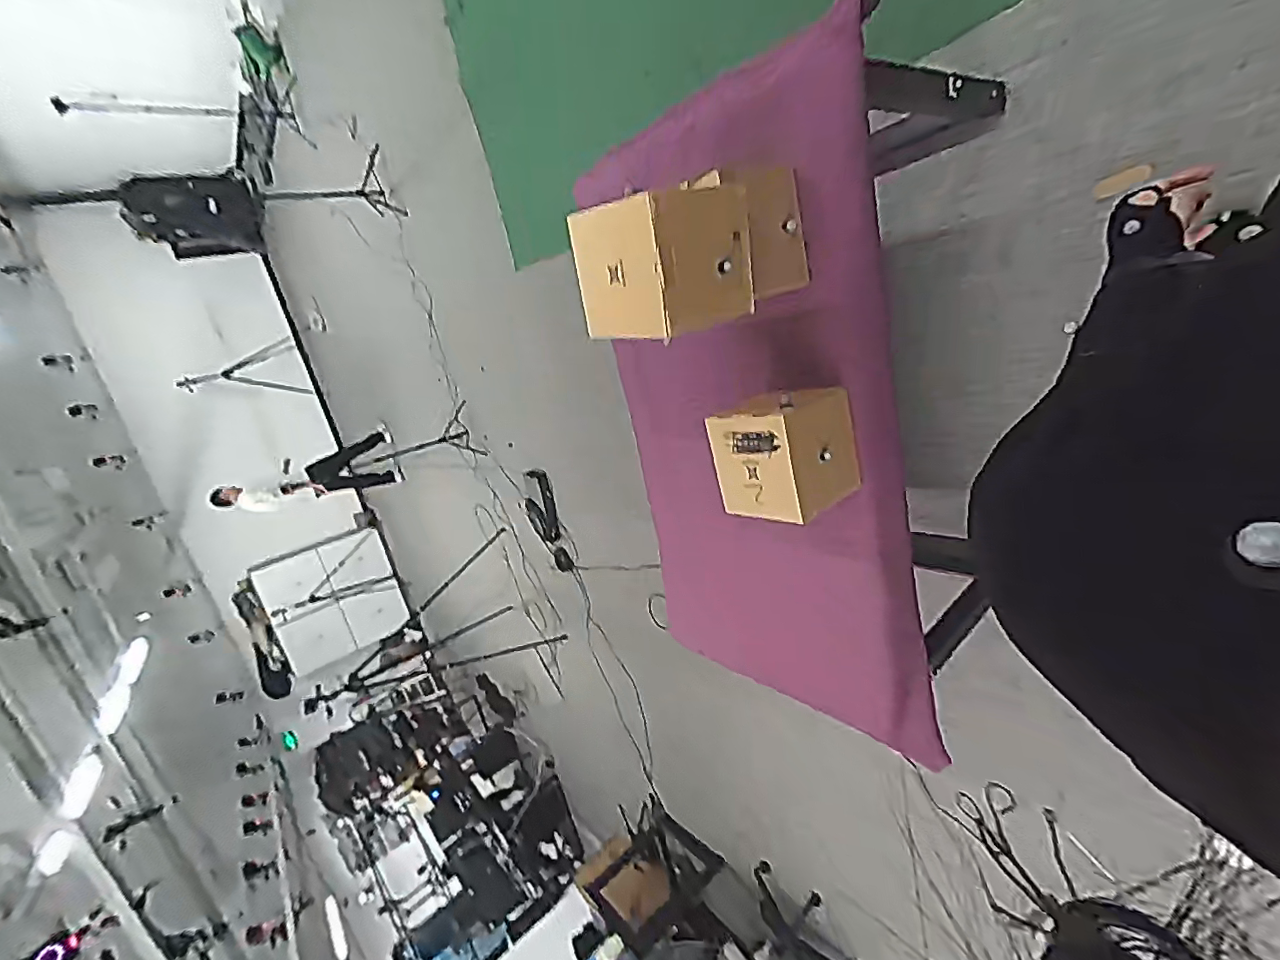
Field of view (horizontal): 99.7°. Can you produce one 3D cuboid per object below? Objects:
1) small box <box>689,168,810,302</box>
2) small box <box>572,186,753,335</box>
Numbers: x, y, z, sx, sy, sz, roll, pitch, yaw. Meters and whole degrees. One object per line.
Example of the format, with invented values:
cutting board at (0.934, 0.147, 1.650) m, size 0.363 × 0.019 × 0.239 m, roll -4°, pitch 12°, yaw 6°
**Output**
small box at (0.143, -0.368, 0.852) m, size 0.168 × 0.176 × 0.179 m, roll 6°, pitch 114°, yaw 54°
small box at (0.033, -0.299, 0.751) m, size 0.179 × 0.176 × 0.168 m, roll 16°, pitch 123°, yaw 49°
